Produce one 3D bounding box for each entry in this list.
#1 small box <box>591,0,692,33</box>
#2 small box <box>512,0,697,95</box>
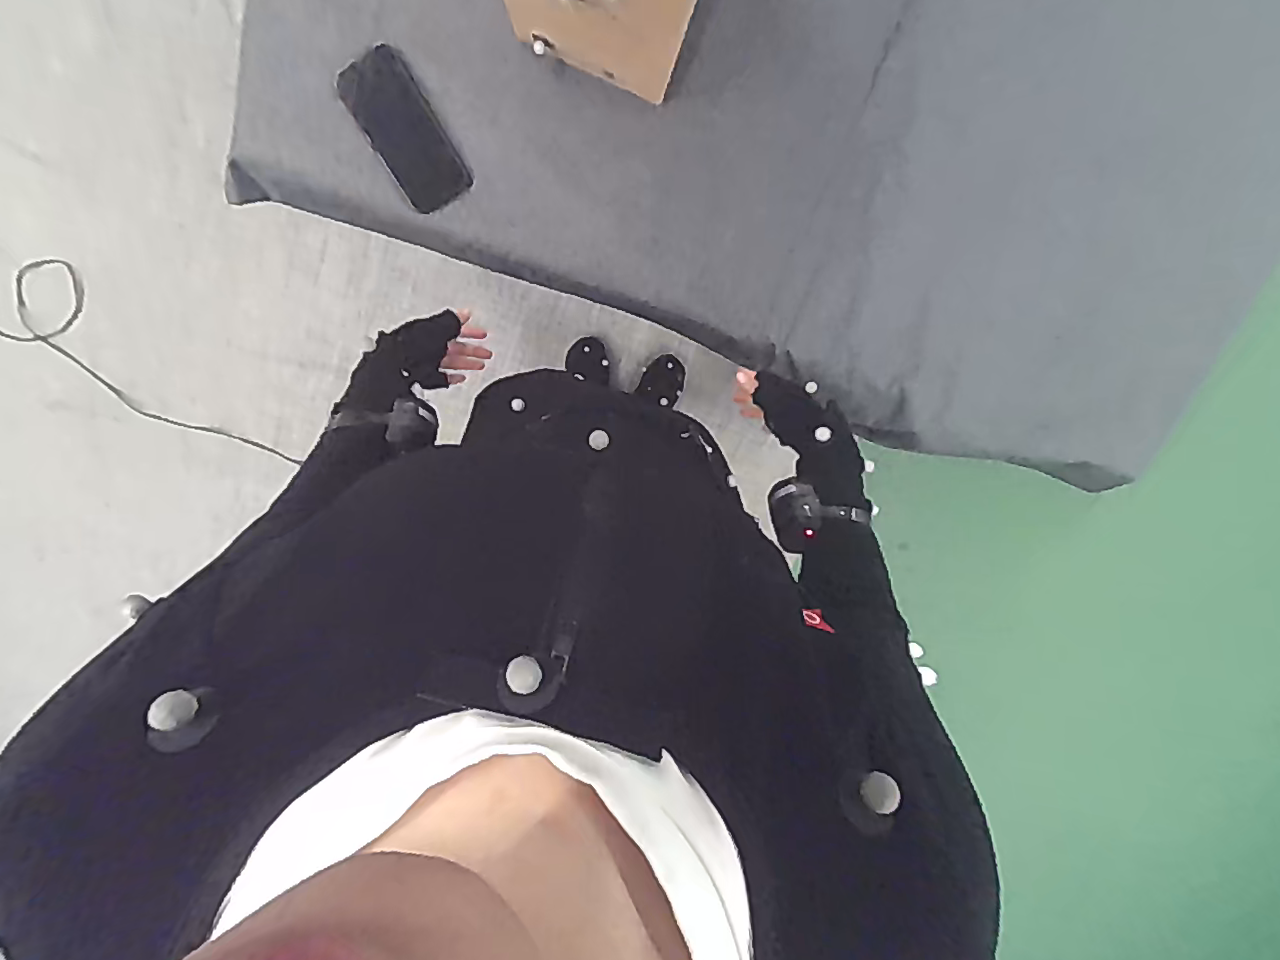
[{"bbox_3d":[-0.011,-0.434,0.326,0.168,0.176,0.179,19,107,-8],"label":"small box"},{"bbox_3d":[-0.018,-0.489,0.479,0.168,0.176,0.179,20,105,-9],"label":"small box"}]
